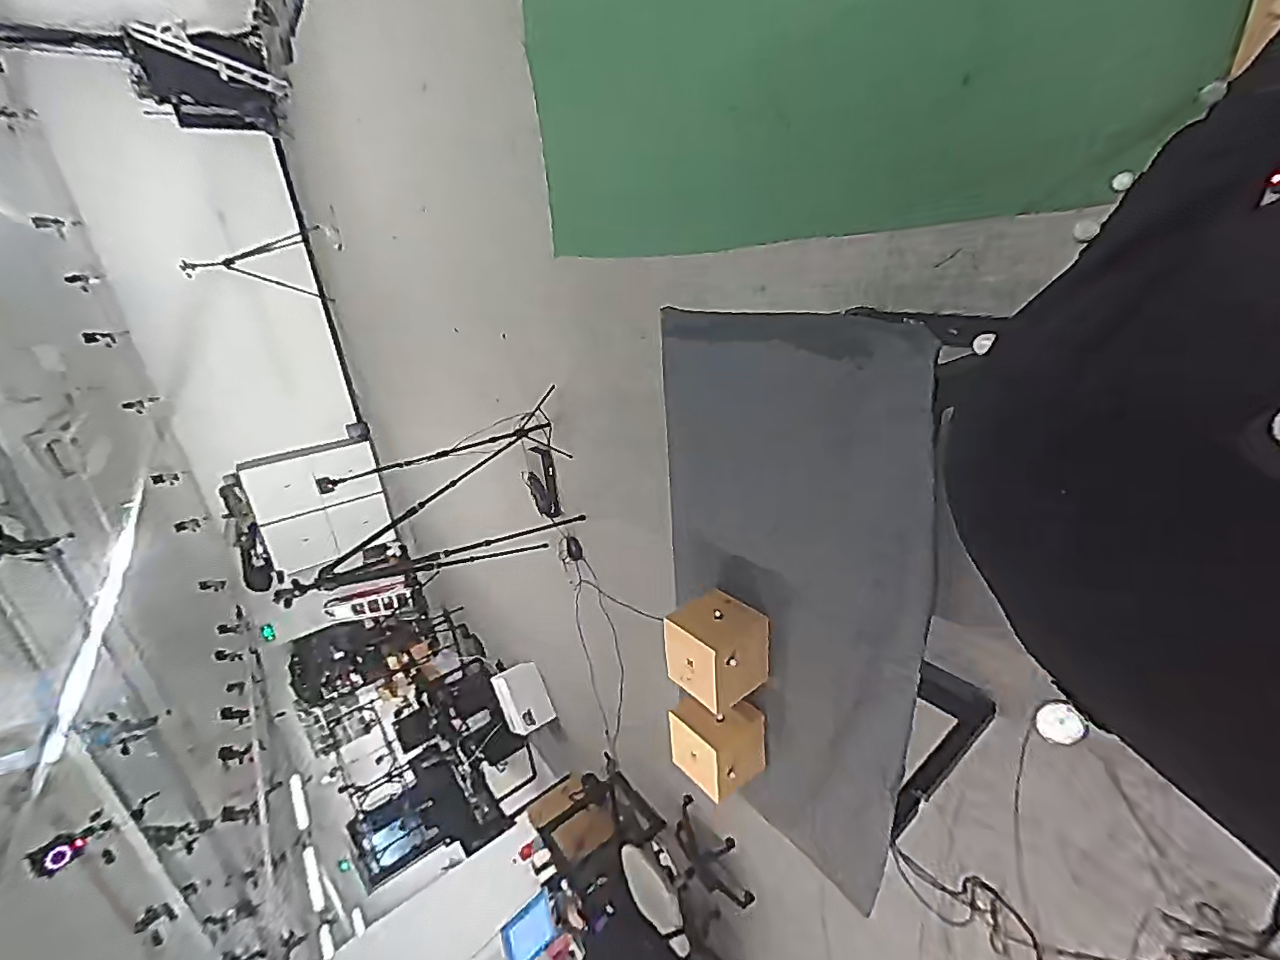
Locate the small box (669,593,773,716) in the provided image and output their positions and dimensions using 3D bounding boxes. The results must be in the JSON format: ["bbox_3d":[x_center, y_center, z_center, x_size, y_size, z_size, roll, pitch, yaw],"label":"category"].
[{"bbox_3d":[0.187,0.385,1.227,0.168,0.176,0.179,22,124,50],"label":"small box"}]

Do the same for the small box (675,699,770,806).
[{"bbox_3d":[0.208,0.646,1.342,0.168,0.176,0.179,21,124,49],"label":"small box"}]
